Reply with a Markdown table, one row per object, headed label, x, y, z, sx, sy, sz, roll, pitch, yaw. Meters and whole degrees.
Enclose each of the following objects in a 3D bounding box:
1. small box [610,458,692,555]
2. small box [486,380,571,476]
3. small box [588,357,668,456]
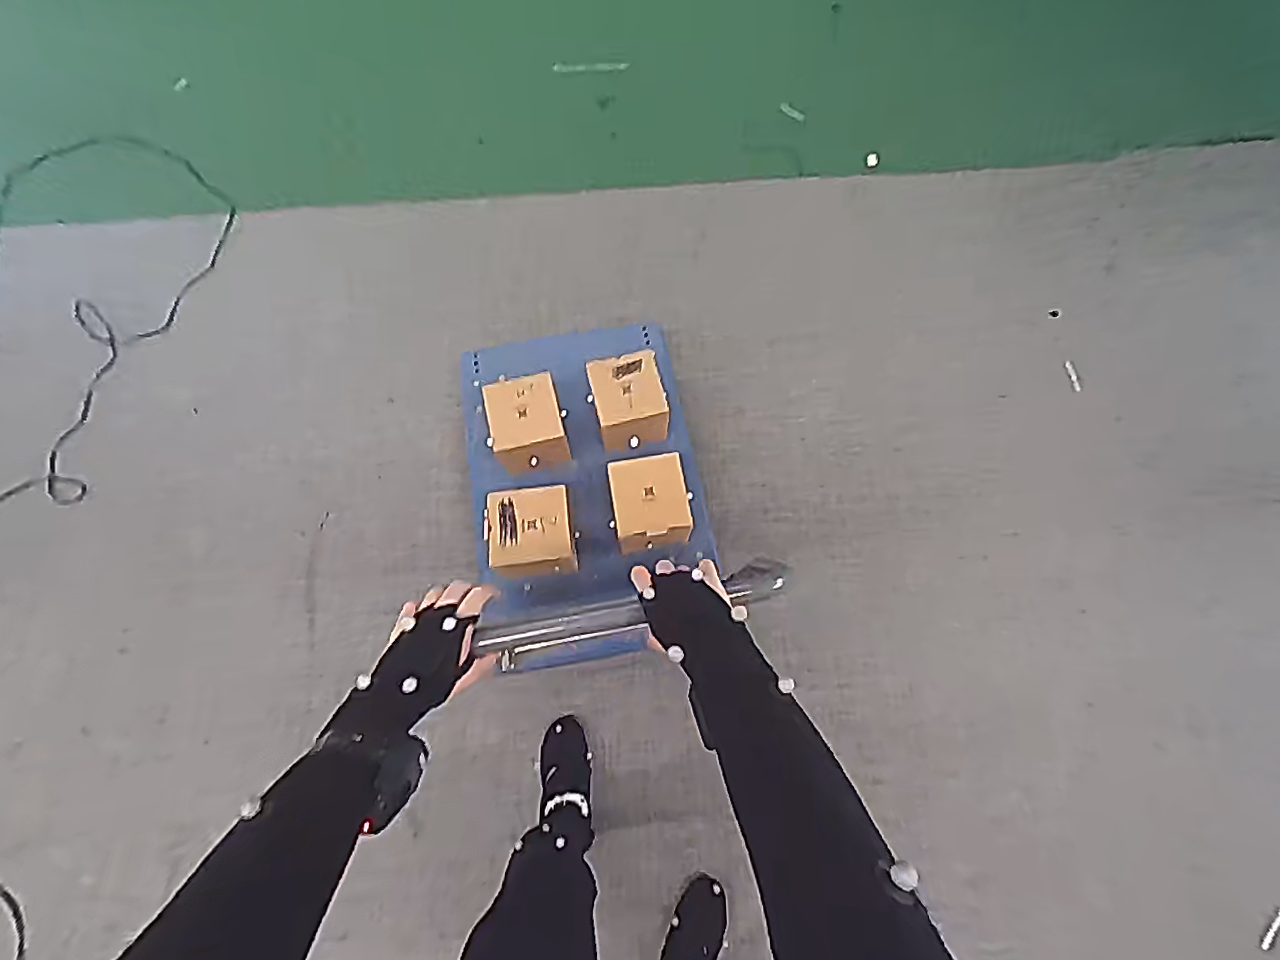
| label | x | y | z | sx | sy | sz | roll | pitch | yaw |
| --- | --- | --- | --- | --- | --- | --- | --- | --- | --- |
| small box | 0.020 | 0.067 | 1.293 | 0.168 | 0.176 | 0.179 | -9 | 71 | -4 |
| small box | -0.275 | -0.122 | 1.359 | 0.168 | 0.176 | 0.179 | -13 | 71 | -6 |
| small box | -0.032 | -0.183 | 1.382 | 0.168 | 0.176 | 0.179 | -14 | 72 | -4 |
